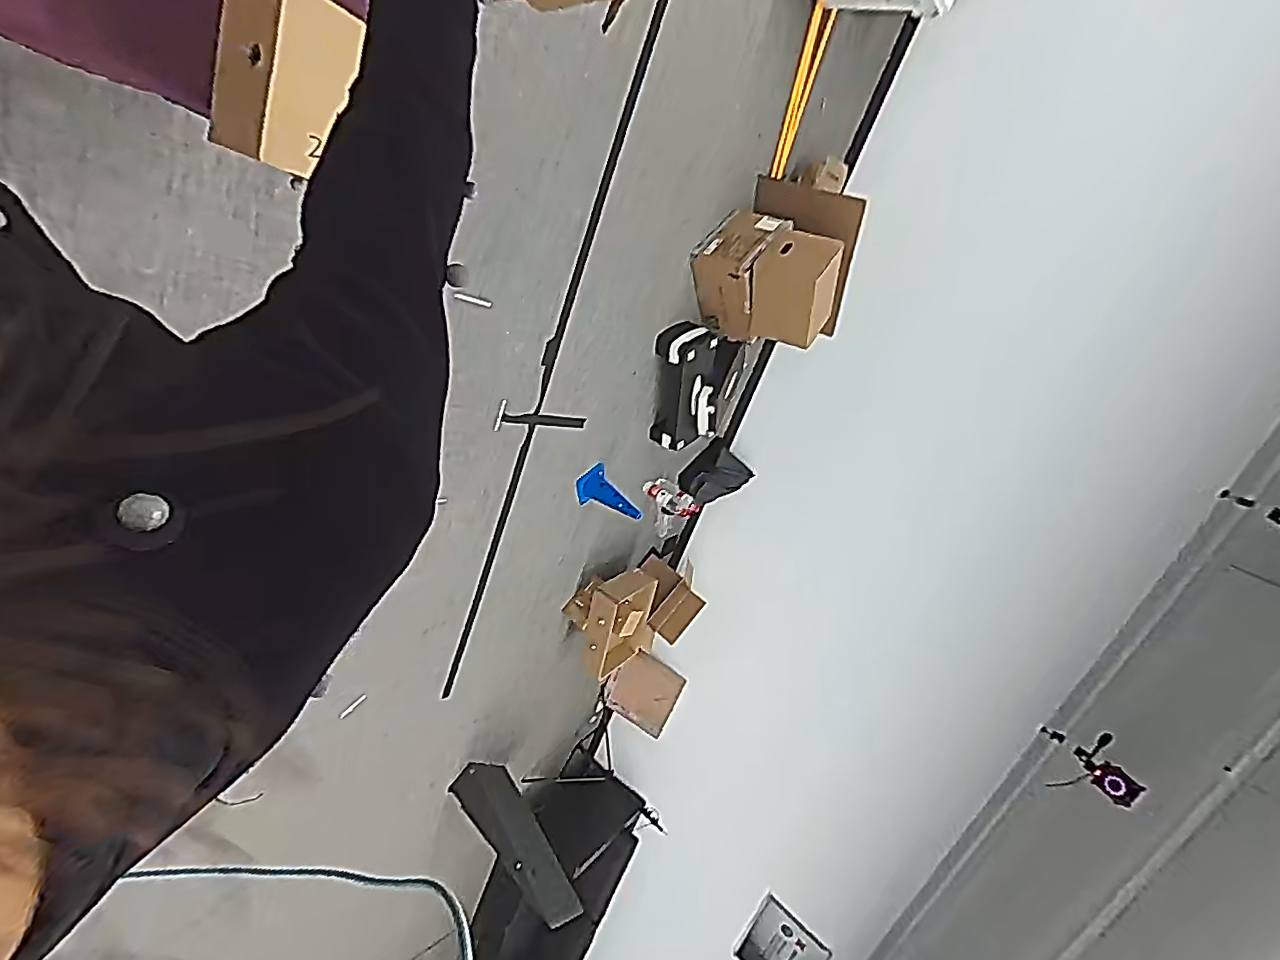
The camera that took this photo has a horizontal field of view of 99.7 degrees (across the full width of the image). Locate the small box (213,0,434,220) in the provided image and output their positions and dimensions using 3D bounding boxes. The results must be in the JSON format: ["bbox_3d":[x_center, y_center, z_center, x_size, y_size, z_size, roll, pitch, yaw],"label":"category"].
[{"bbox_3d":[-0.383,-0.447,0.651,0.168,0.176,0.179,-3,119,-54],"label":"small box"}]
